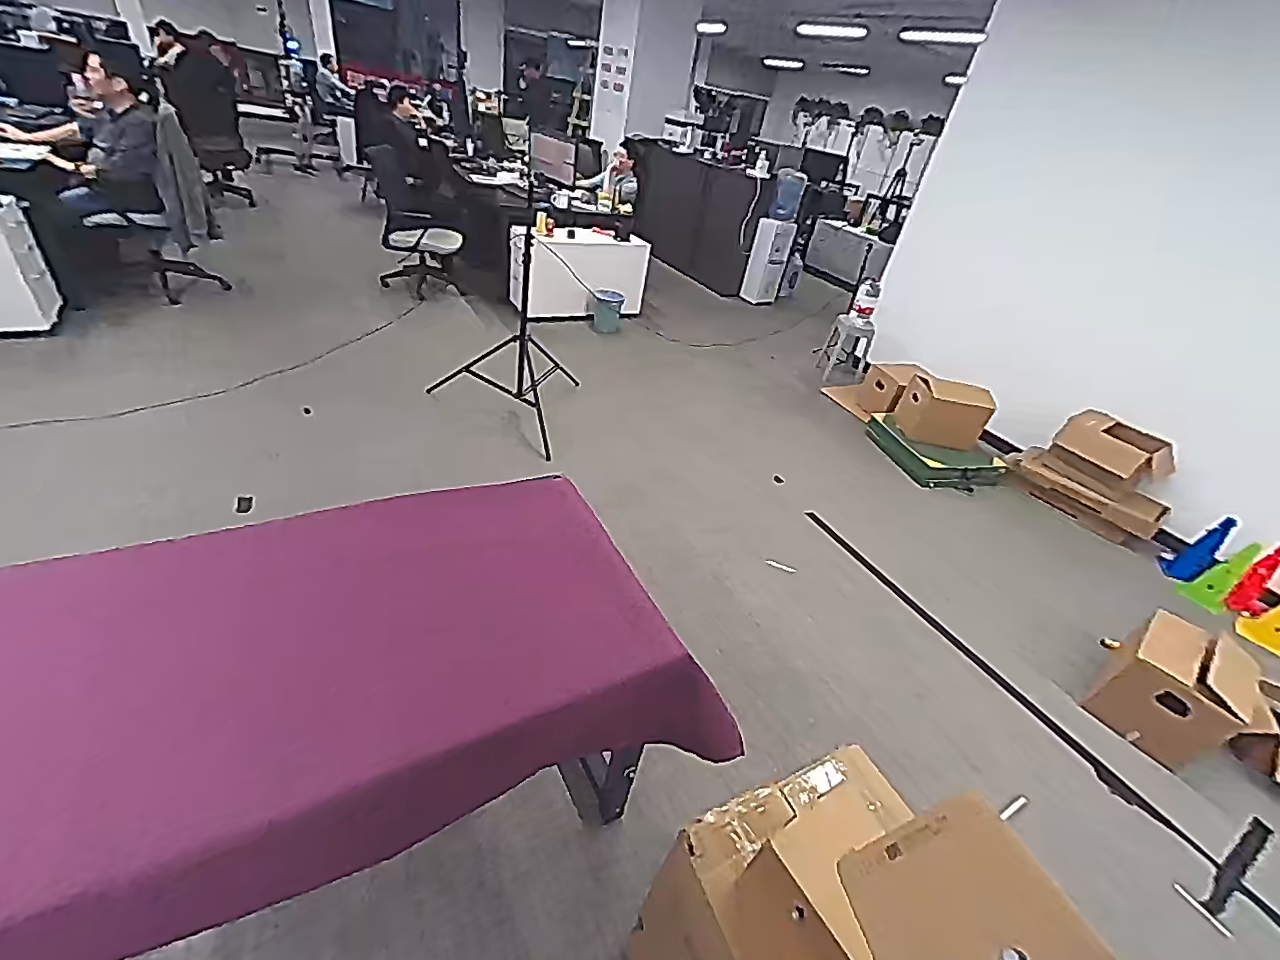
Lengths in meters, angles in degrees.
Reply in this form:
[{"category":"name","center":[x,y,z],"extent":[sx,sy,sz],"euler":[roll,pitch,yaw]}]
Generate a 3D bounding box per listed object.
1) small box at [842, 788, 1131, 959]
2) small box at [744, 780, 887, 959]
[{"category":"small box","center":[0.317,0.428,0.484],"extent":[0.168,0.179,0.176],"euler":[-33,11,4]},{"category":"small box","center":[0.274,0.577,0.763],"extent":[0.168,0.176,0.179],"euler":[-15,44,-30]}]
